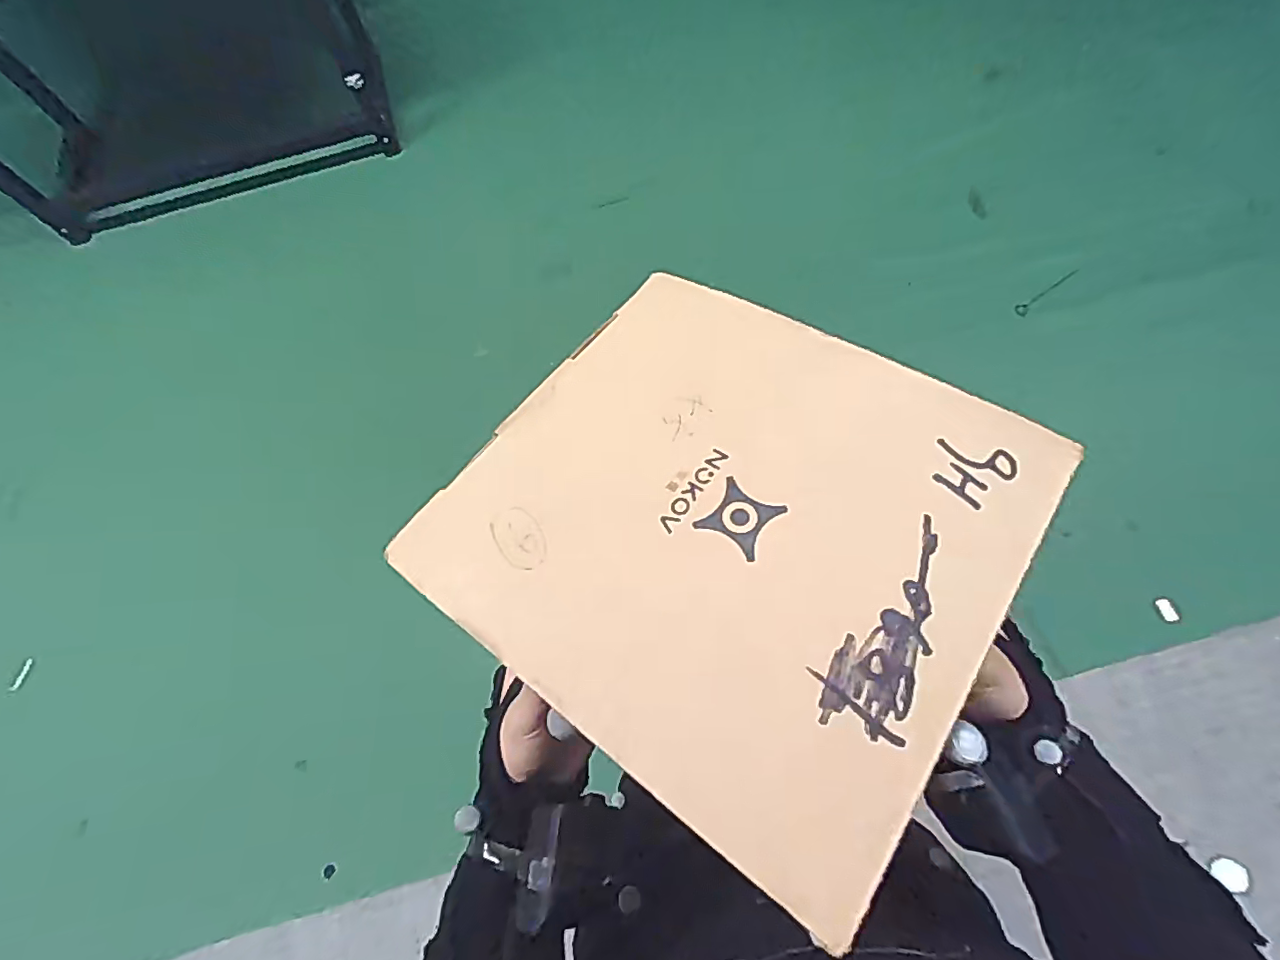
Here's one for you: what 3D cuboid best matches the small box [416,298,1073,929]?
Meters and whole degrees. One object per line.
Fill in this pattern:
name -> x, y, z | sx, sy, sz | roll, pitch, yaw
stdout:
small box -> 0.042, 0.053, 0.259 | 0.179, 0.176, 0.168 | 30, 70, 23
